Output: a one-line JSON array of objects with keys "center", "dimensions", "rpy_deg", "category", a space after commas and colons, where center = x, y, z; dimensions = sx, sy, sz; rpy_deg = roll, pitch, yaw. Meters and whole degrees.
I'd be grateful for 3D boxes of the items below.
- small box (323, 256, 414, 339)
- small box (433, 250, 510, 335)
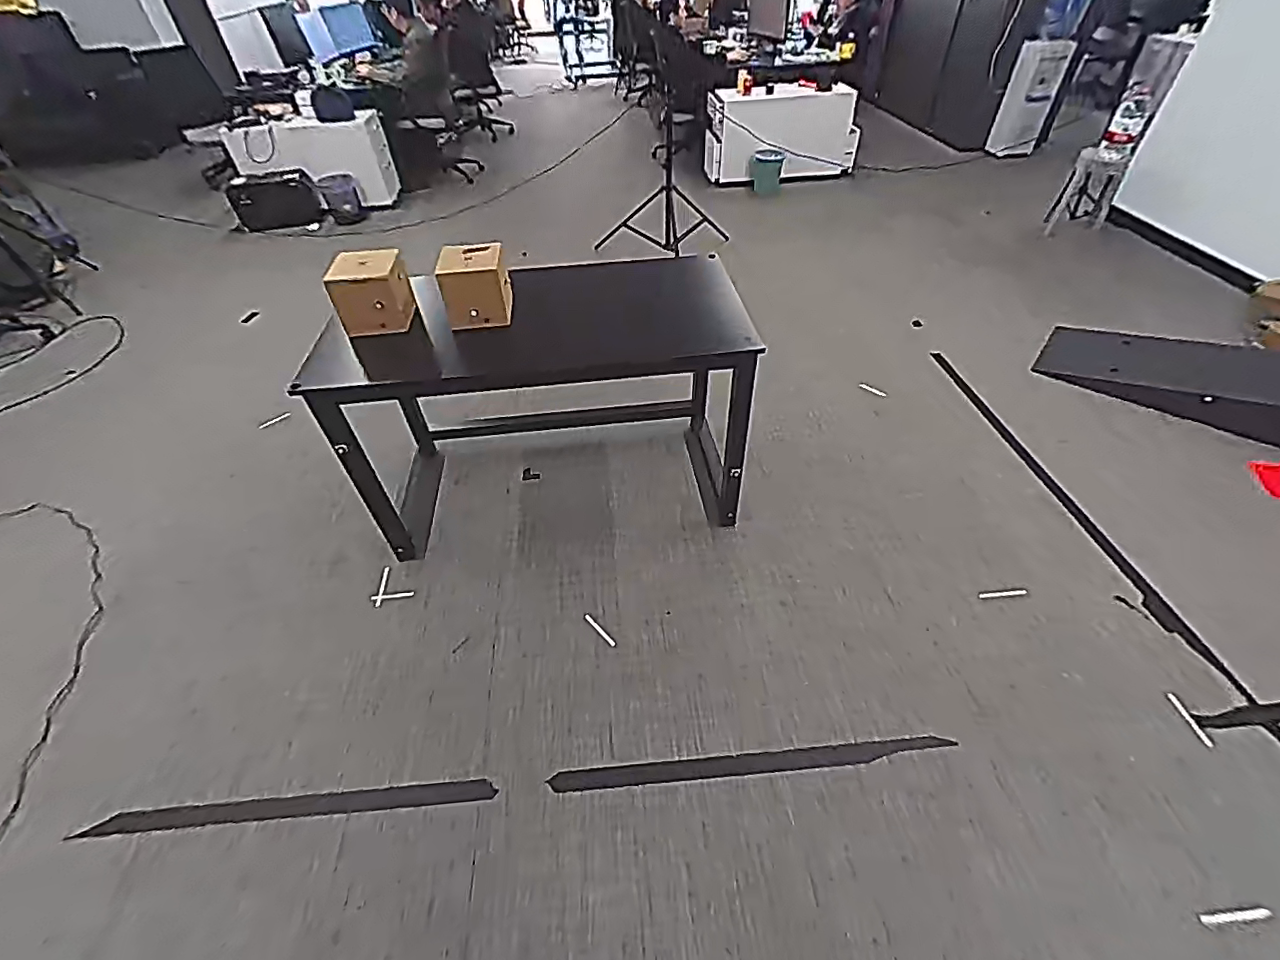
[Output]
[{"center": [-0.755, -0.510, 1.525], "dimensions": [0.168, 0.176, 0.179], "rpy_deg": [-6, 44, -5], "category": "small box"}, {"center": [-0.469, -0.533, 1.535], "dimensions": [0.168, 0.176, 0.179], "rpy_deg": [-6, 46, -4], "category": "small box"}]
